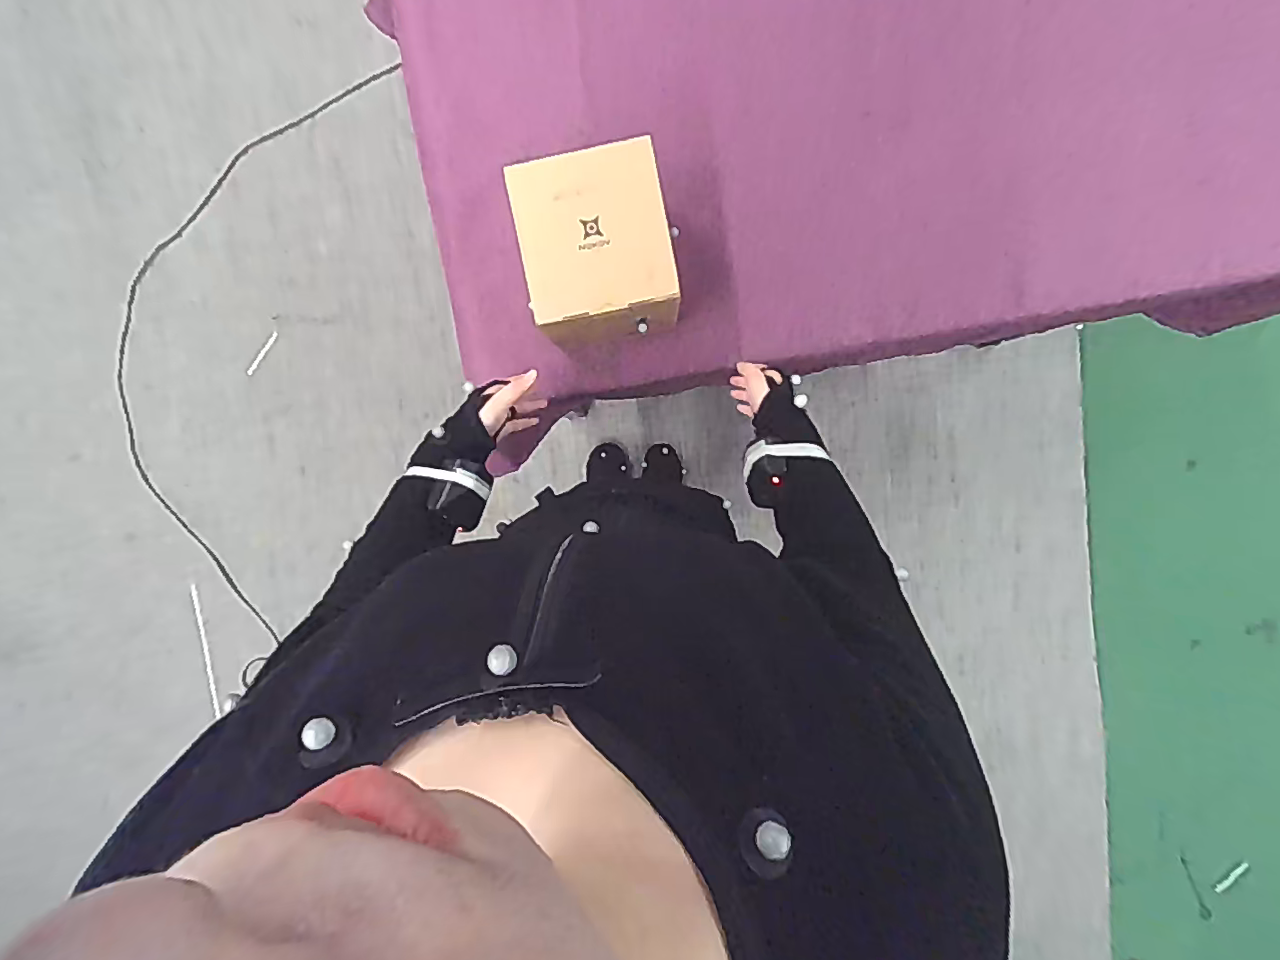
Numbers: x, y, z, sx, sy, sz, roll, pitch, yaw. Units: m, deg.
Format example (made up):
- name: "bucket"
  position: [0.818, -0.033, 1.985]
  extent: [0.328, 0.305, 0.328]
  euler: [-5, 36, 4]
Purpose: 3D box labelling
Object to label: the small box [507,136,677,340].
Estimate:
- name: "small box"
  position: [-0.050, -0.280, 0.671]
  extent: [0.168, 0.176, 0.179]
  euler: [-11, 94, 1]
